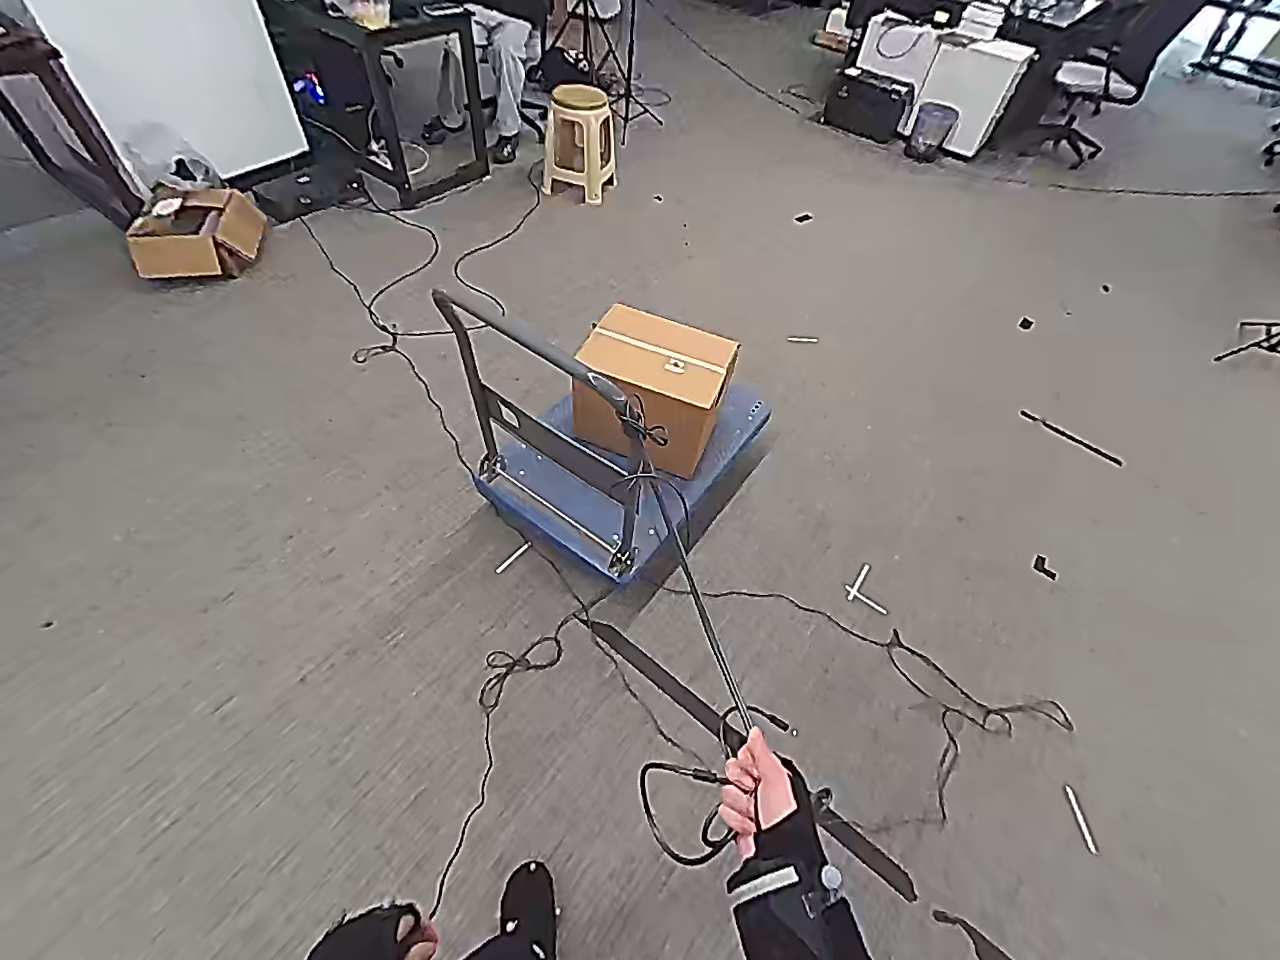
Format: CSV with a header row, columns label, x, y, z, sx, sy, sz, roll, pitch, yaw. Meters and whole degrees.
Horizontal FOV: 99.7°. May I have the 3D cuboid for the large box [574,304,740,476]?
label,x,y,z,sx,sy,sz,roll,pitch,yaw
large box,0.043,-0.271,1.647,0.408,0.320,0.320,21,54,8
